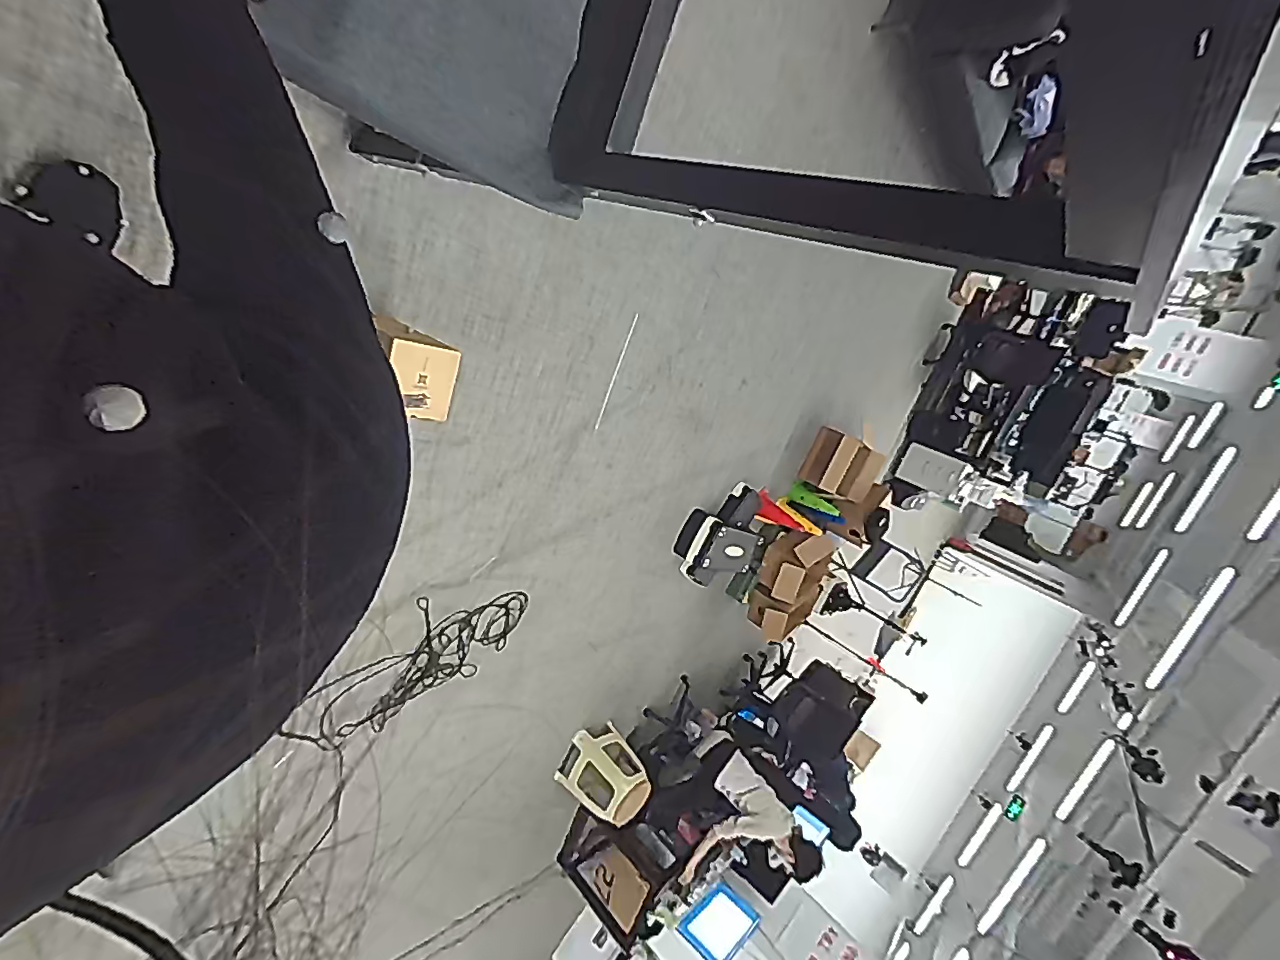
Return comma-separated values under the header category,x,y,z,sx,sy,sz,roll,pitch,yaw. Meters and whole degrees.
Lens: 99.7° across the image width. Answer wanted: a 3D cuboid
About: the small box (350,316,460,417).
category,x,y,z,sx,sy,sz,roll,pitch,yaw
small box,-0.557,-0.265,1.271,0.168,0.176,0.179,1,113,-51
